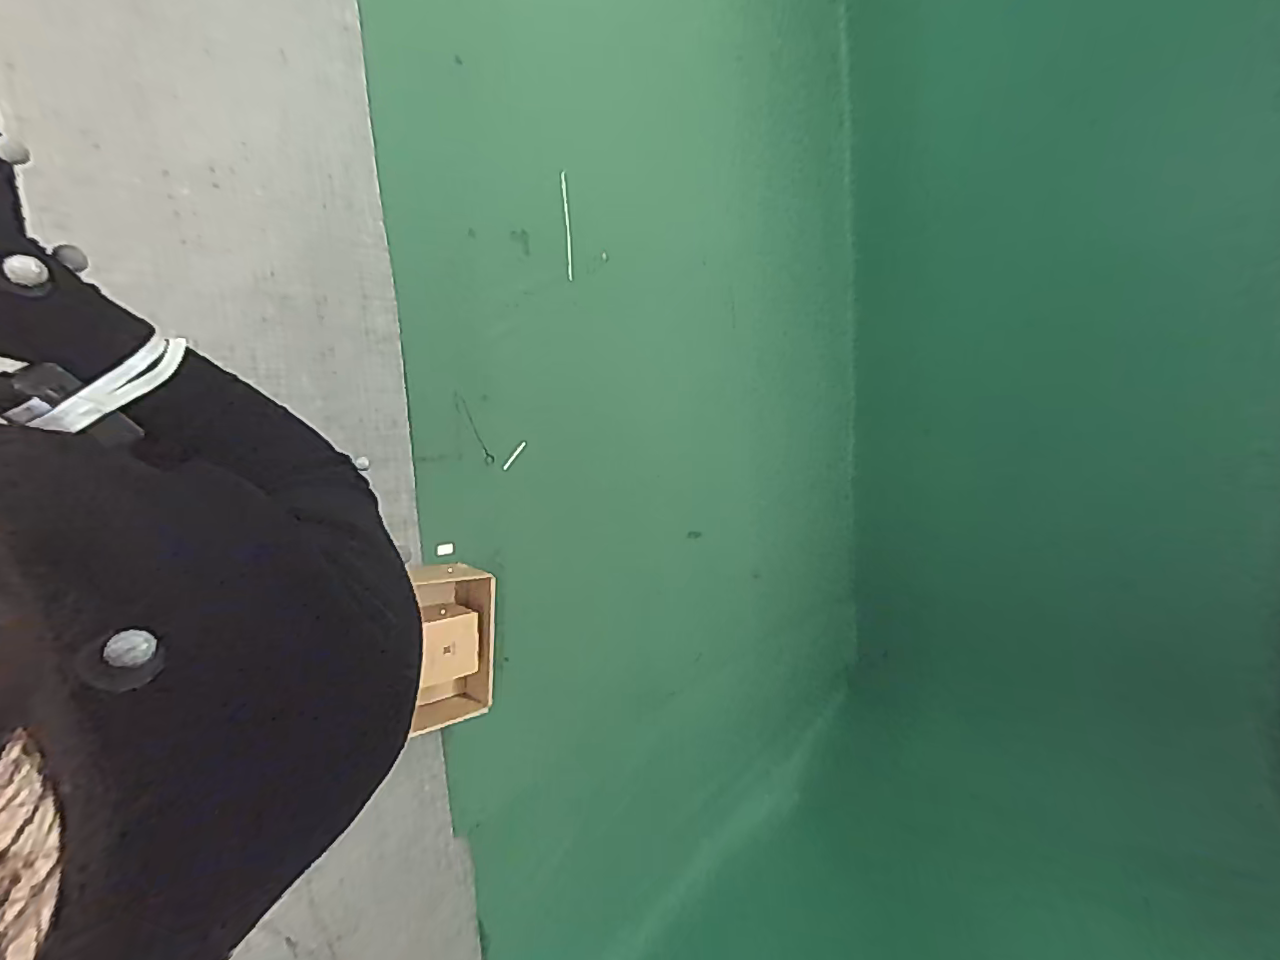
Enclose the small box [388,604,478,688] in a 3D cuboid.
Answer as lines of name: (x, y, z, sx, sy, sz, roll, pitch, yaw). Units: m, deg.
small box: (-0.565, 0.444, 1.479, 0.179, 0.176, 0.168, 0, 91, -46)
